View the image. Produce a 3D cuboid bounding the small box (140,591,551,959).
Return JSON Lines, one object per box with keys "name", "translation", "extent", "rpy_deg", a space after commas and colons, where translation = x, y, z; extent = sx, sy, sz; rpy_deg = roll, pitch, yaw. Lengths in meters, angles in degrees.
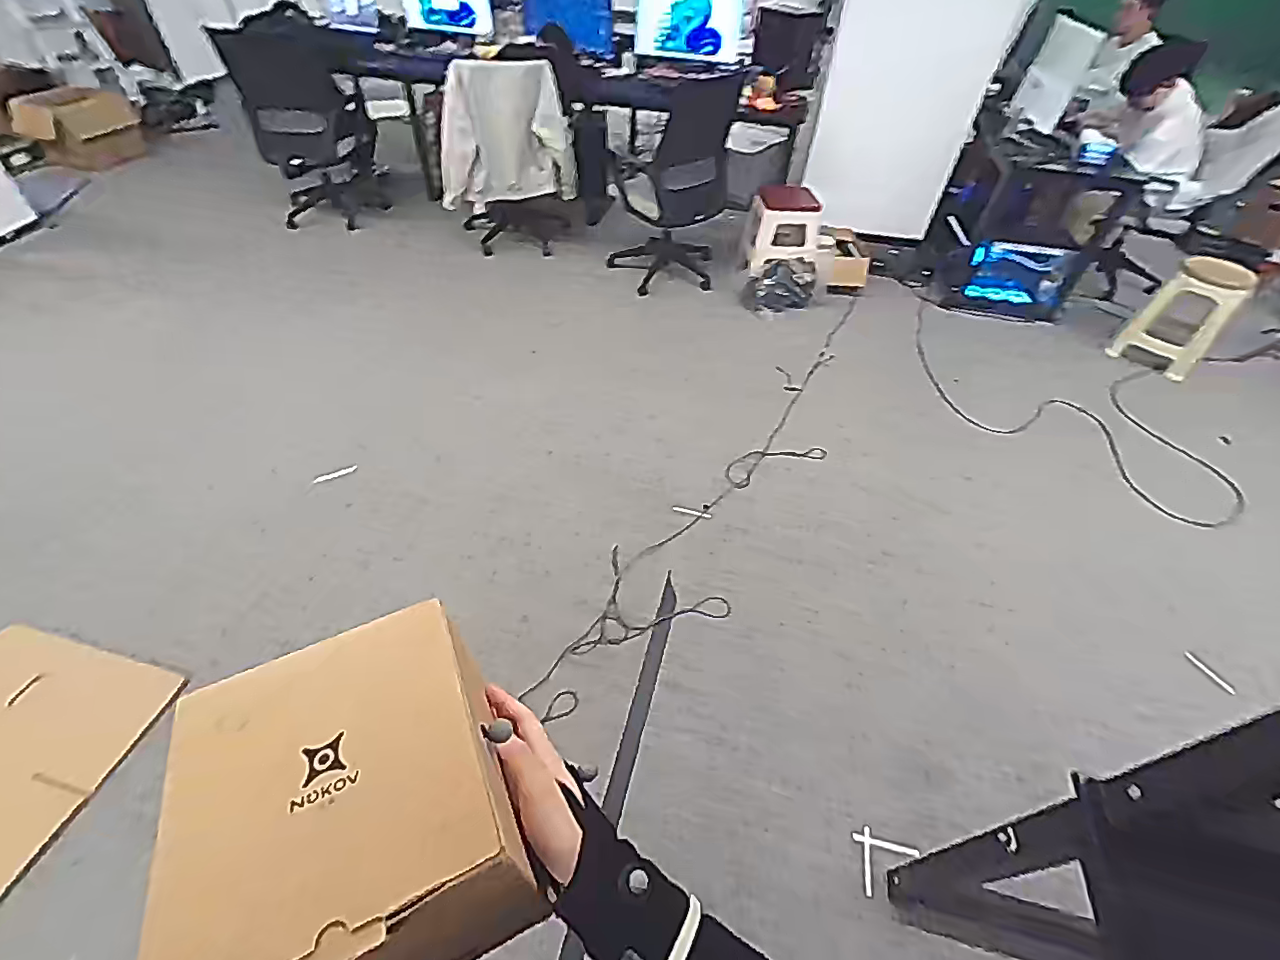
{"name": "small box", "translation": [-0.172, 0.213, 0.360], "extent": [0.168, 0.176, 0.179], "rpy_deg": [-21, 47, -17]}
